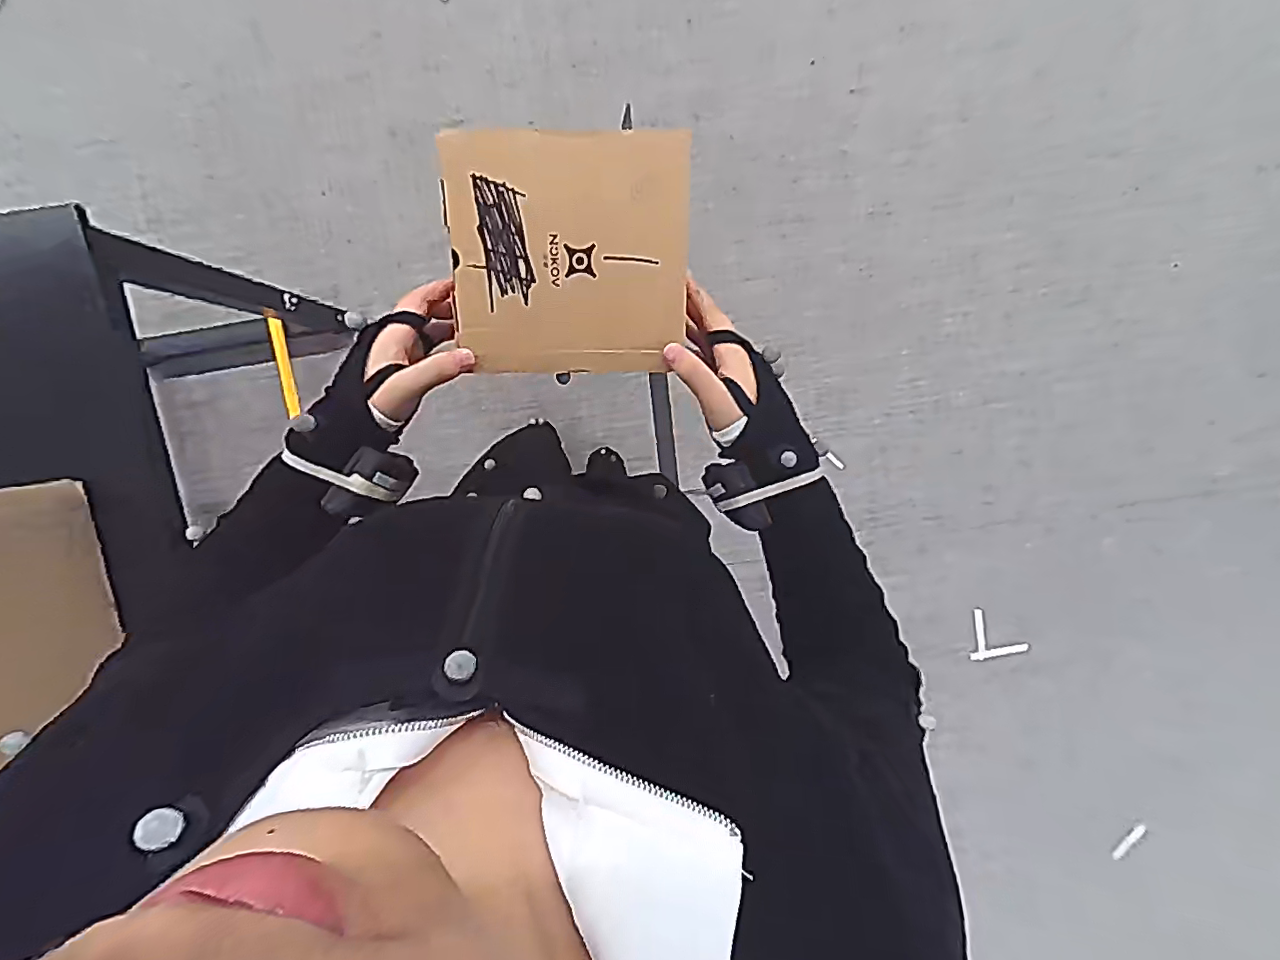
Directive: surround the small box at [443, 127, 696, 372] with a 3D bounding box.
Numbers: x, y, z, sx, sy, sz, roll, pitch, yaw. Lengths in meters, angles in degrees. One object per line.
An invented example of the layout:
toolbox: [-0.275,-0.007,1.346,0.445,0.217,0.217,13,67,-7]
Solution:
small box: [-0.051,-0.186,0.469,0.179,0.176,0.168,-1,108,-2]
